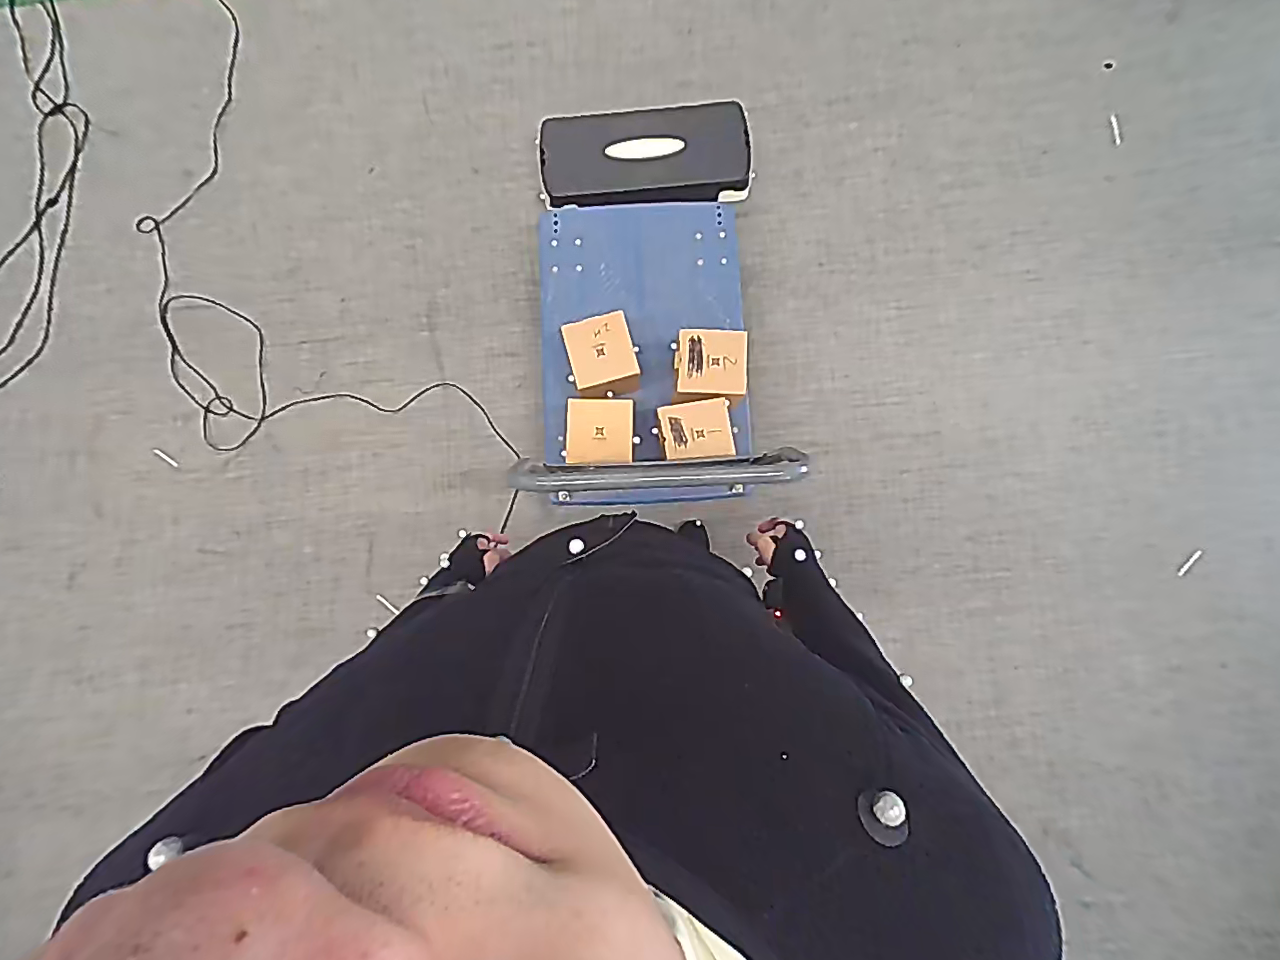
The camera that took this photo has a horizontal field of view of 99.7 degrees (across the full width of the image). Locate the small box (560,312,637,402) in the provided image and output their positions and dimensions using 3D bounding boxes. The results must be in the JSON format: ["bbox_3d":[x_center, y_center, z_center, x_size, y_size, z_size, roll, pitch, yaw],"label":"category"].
[{"bbox_3d":[-0.105,-0.317,1.442,0.168,0.176,0.179,-15,84,-2],"label":"small box"}]
